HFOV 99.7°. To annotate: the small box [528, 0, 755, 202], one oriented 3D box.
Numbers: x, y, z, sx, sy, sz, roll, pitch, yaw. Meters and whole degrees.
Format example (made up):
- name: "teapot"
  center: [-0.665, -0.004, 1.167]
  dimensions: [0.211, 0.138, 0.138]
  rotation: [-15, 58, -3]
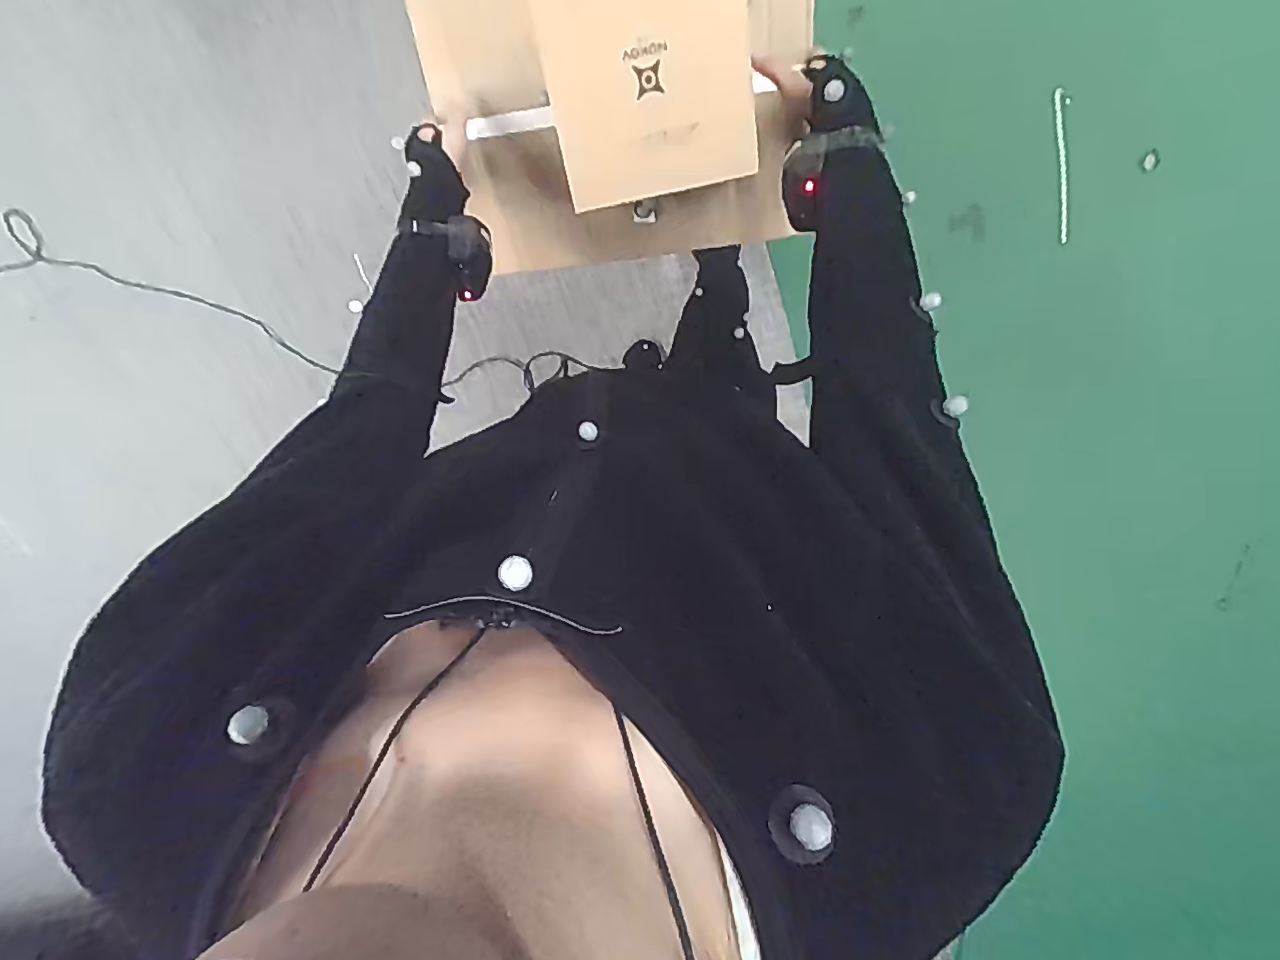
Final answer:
- name: "small box"
  center: [0.005, -0.369, 0.496]
  dimensions: [0.168, 0.176, 0.179]
  rotation: [-8, 120, 7]
